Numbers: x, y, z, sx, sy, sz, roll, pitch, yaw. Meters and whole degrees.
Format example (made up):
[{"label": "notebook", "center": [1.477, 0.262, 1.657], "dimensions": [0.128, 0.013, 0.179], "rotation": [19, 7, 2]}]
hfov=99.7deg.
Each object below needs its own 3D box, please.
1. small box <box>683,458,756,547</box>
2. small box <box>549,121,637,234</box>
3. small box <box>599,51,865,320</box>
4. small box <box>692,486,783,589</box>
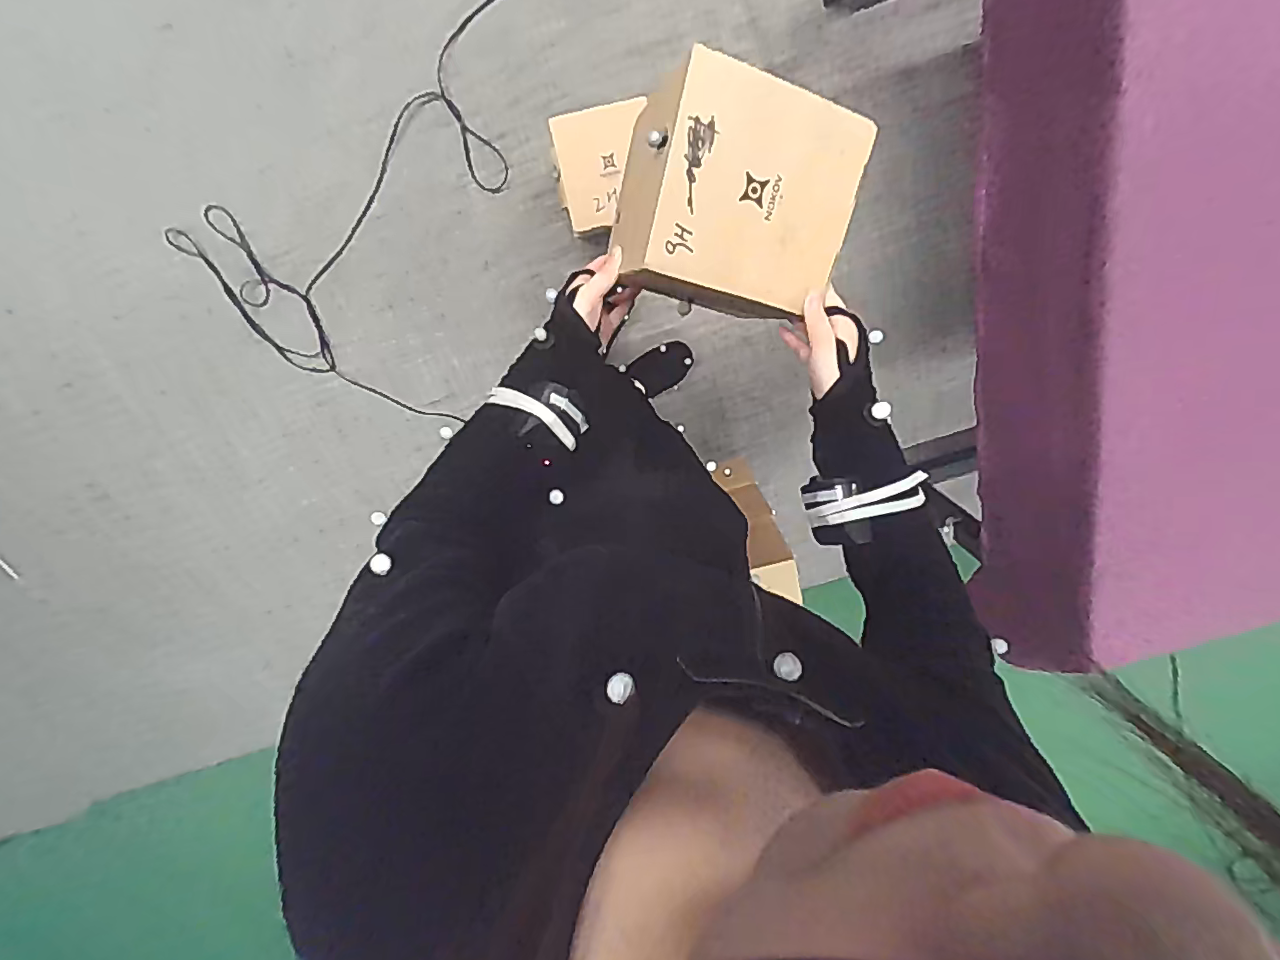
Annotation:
[{"label": "small box", "center": [0.219, 0.054, 1.458], "dimensions": [0.168, 0.176, 0.179], "rotation": [-14, 116, 2]}, {"label": "small box", "center": [-0.077, -0.619, 1.128], "dimensions": [0.179, 0.176, 0.168], "rotation": [-15, 115, 2]}, {"label": "small box", "center": [0.075, -0.263, 0.532], "dimensions": [0.179, 0.176, 0.168], "rotation": [10, 103, -20]}, {"label": "small box", "center": [0.231, 0.130, 1.314], "dimensions": [0.168, 0.176, 0.179], "rotation": [-16, 116, 4]}]
